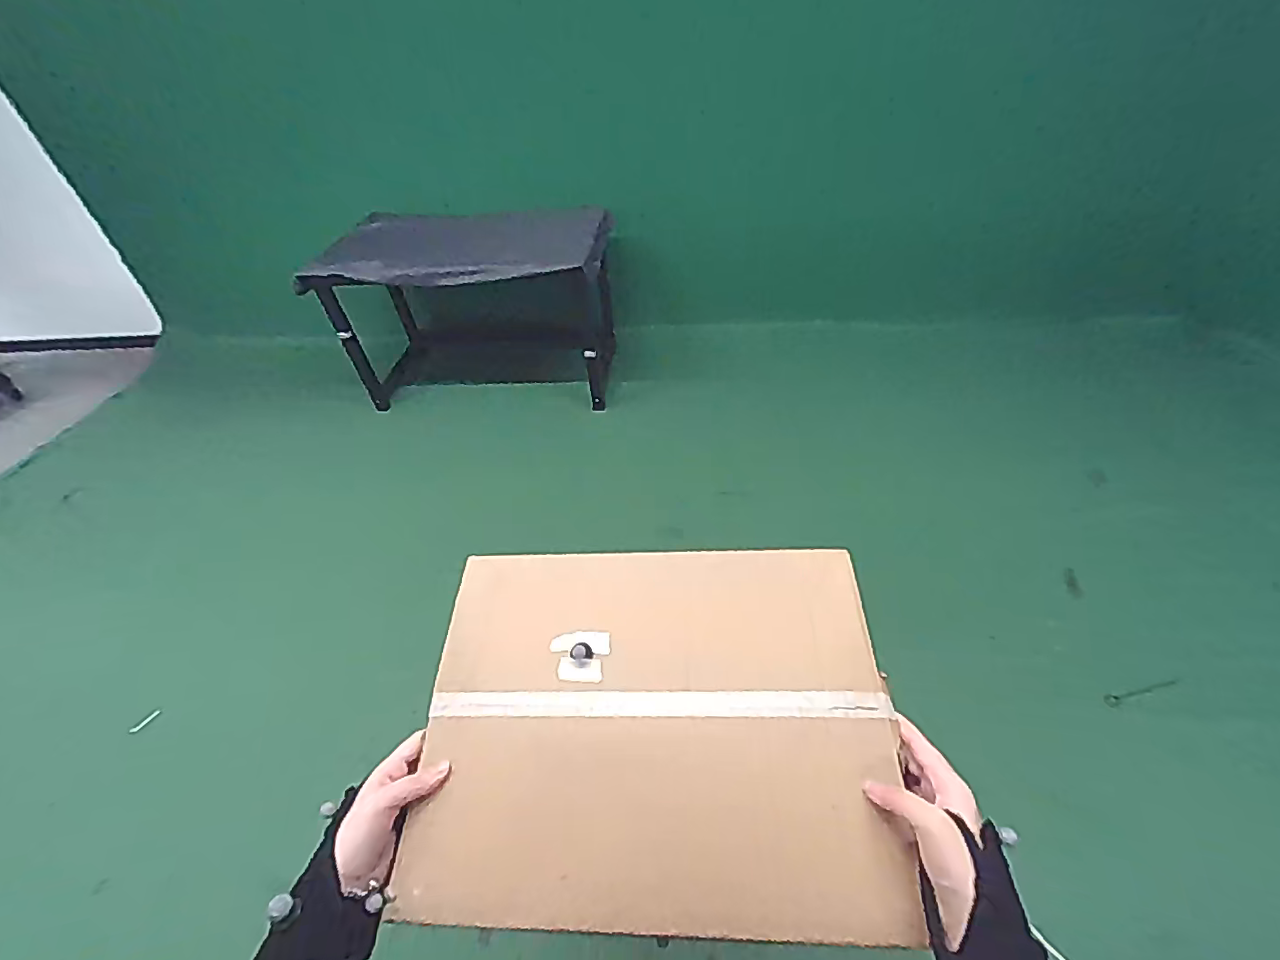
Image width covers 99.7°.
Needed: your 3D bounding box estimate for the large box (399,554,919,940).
[{"bbox_3d":[0.026,0.300,0.612,0.408,0.320,0.320,-3,52,6],"label":"large box"}]
